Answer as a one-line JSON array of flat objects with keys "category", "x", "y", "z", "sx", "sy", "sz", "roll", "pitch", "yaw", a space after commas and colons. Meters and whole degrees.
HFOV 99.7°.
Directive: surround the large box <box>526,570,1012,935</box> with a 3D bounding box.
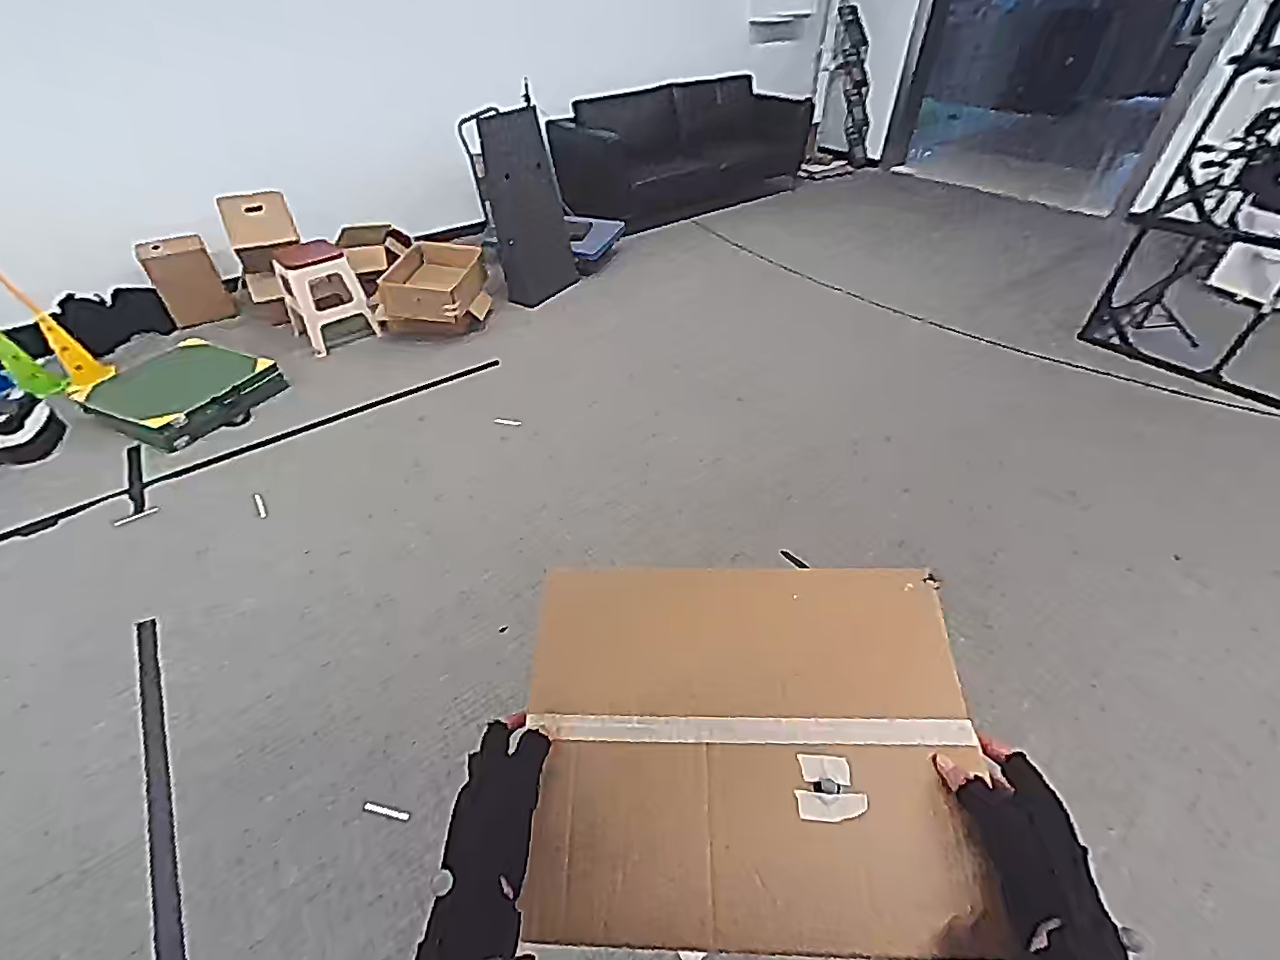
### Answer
[{"category": "large box", "x": 0.108, "y": 0.307, "z": 0.641, "sx": 0.408, "sy": 0.320, "sz": 0.320, "roll": 0, "pitch": 60, "yaw": 3}]
